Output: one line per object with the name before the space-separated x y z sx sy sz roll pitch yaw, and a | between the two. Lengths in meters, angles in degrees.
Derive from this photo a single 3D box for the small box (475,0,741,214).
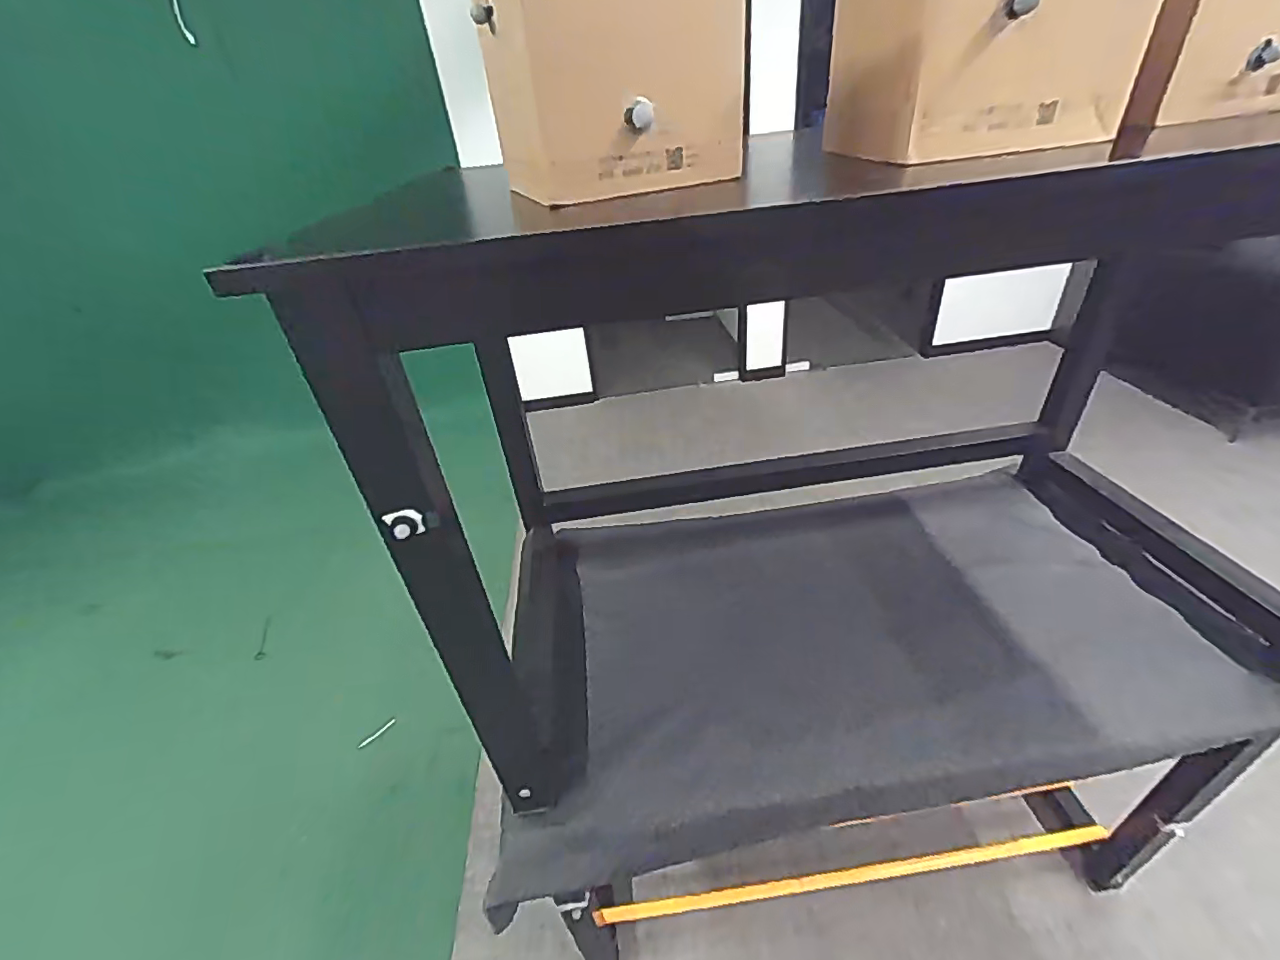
small box | -0.032 -0.327 0.446 0.168 0.176 0.179 -17 37 -15
